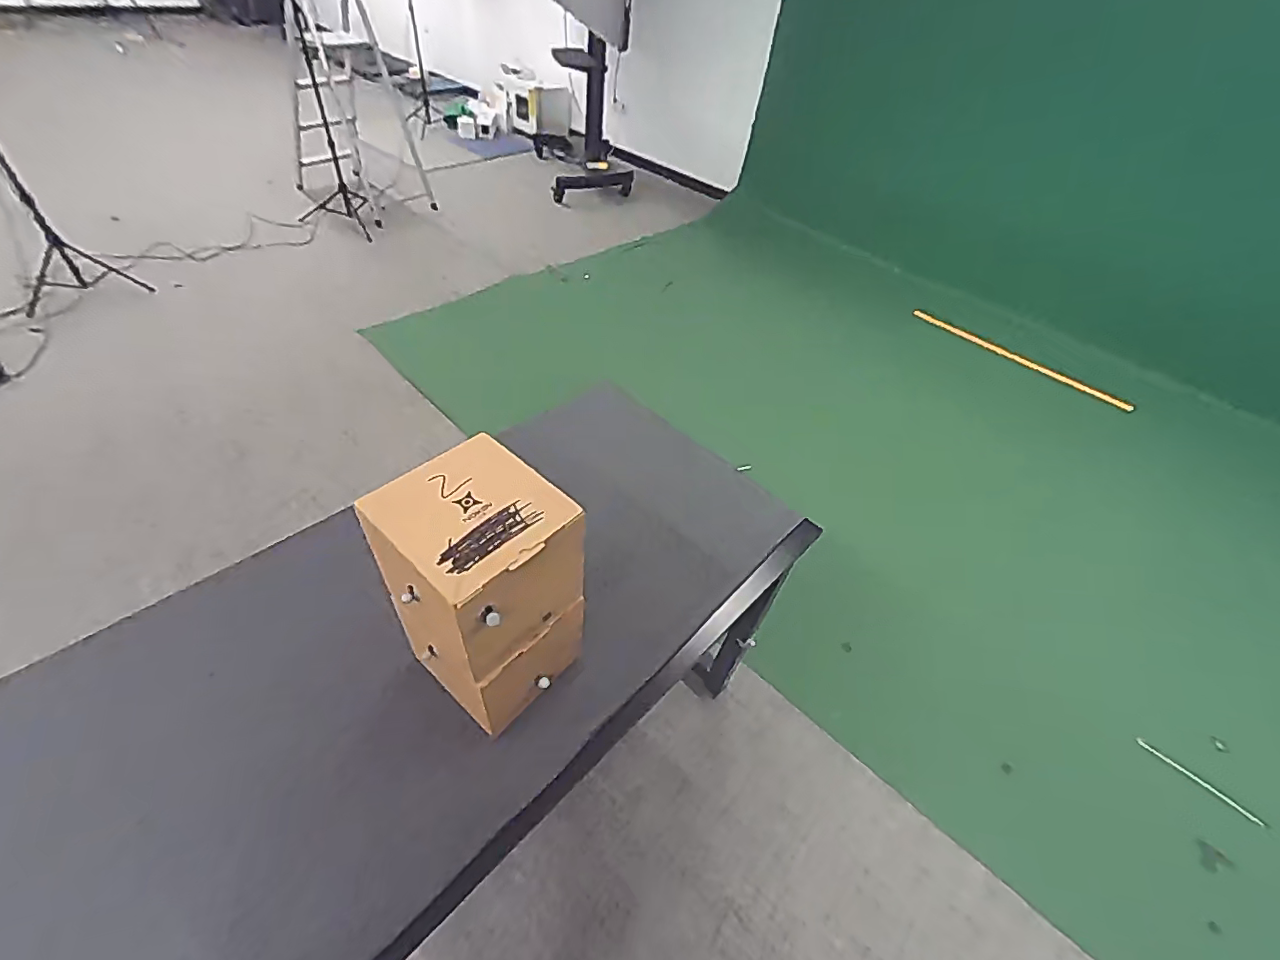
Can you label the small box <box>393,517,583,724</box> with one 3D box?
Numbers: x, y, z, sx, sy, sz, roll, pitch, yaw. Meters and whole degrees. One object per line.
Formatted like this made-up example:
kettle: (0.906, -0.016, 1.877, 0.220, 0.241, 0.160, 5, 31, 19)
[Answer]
small box: (-0.196, 0.189, 0.728, 0.179, 0.176, 0.168, 34, 51, 23)
